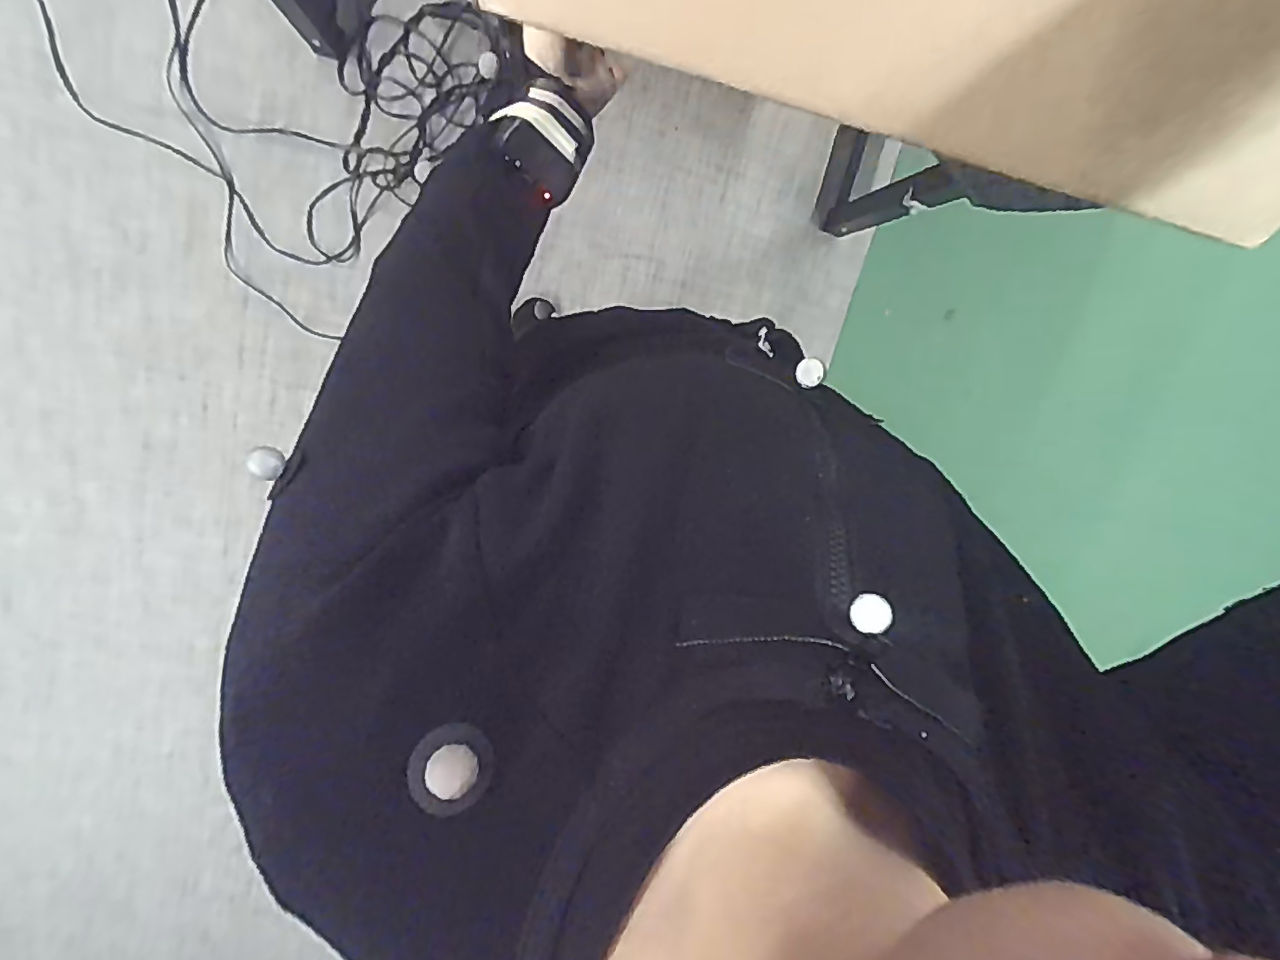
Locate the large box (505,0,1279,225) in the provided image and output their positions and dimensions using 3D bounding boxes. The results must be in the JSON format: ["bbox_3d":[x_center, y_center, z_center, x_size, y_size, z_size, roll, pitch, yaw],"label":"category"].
[{"bbox_3d":[0.167,-0.370,0.255,0.408,0.320,0.320,9,137,-8],"label":"large box"}]
